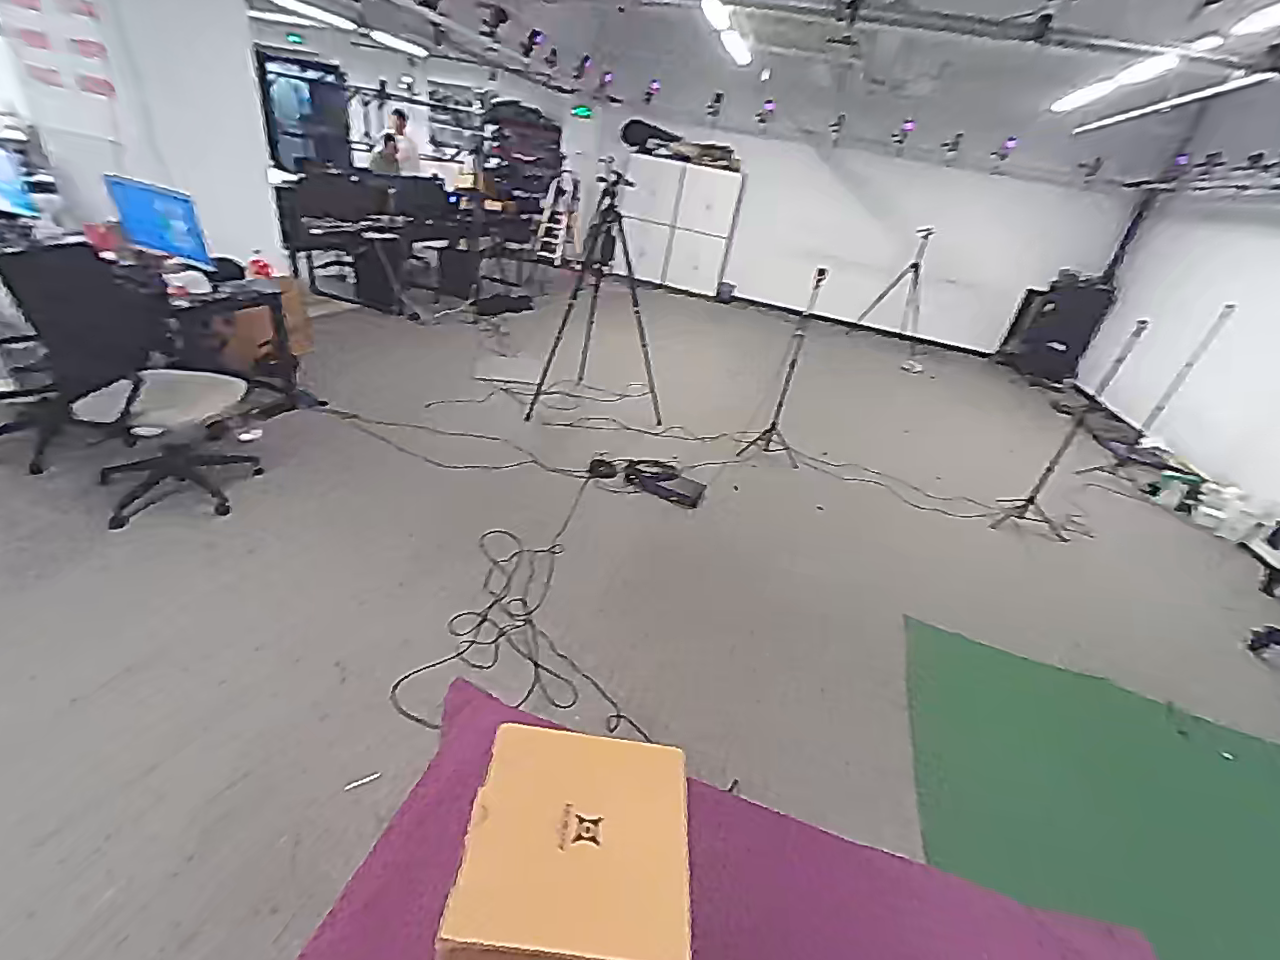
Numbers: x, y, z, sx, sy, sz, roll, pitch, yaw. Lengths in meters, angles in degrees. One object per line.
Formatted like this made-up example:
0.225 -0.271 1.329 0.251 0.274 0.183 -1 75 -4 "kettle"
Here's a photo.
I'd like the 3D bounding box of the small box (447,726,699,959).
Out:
-0.056 0.350 0.474 0.179 0.176 0.168 9 30 -4 "small box"
